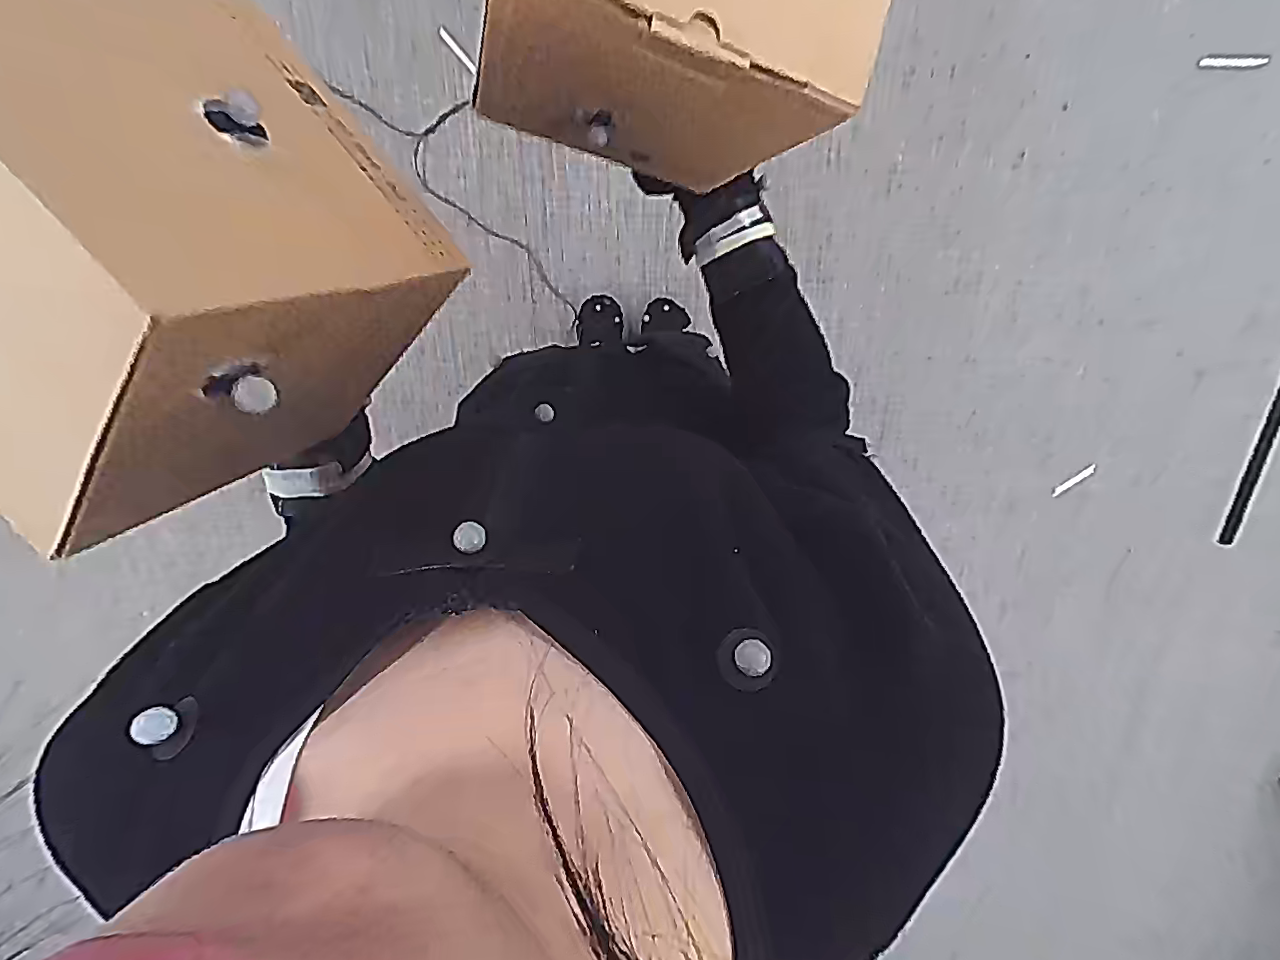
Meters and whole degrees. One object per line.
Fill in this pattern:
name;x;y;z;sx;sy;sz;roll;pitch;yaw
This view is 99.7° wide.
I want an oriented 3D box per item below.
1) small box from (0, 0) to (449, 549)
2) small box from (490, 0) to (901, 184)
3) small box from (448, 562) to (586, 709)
small box;-0.225;-0.105;0.261;0.179;0.176;0.168;-35;99;31
small box;0.022;-0.281;0.274;0.168;0.176;0.179;7;104;-21
small box;-0.186;0.243;0.871;0.179;0.176;0.168;-1;110;1
